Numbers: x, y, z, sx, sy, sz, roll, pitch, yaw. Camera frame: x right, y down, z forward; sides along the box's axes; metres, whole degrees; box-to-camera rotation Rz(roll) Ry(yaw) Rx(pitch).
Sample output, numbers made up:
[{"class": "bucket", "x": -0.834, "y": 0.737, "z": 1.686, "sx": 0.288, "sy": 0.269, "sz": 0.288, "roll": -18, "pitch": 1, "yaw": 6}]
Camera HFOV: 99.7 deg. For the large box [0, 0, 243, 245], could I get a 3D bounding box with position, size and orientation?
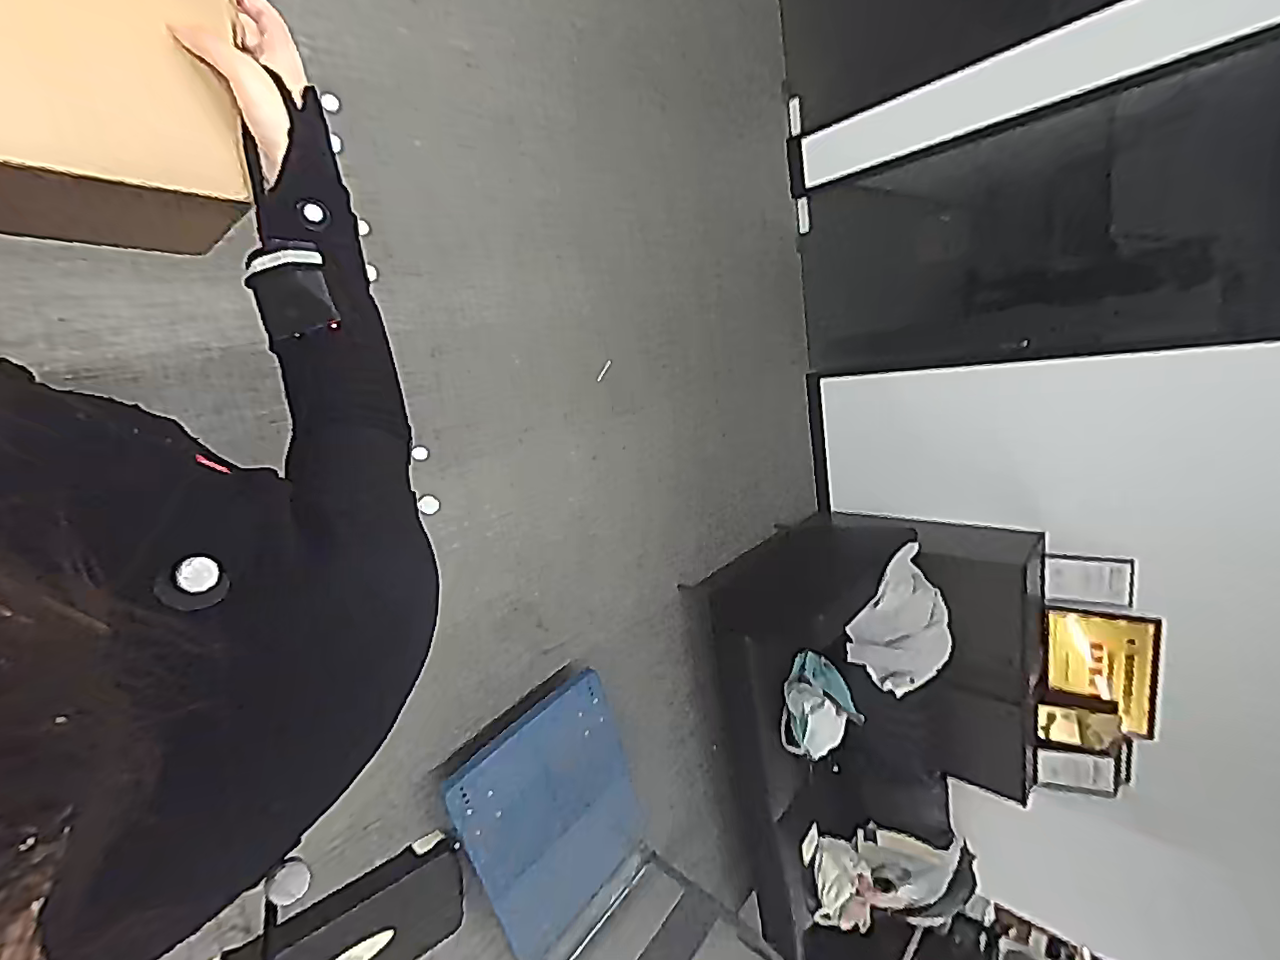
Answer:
[{"class": "large box", "x": -0.556, "y": -0.358, "z": 0.363, "sx": 0.408, "sy": 0.320, "sz": 0.320, "roll": -12, "pitch": 107, "yaw": -42}]
